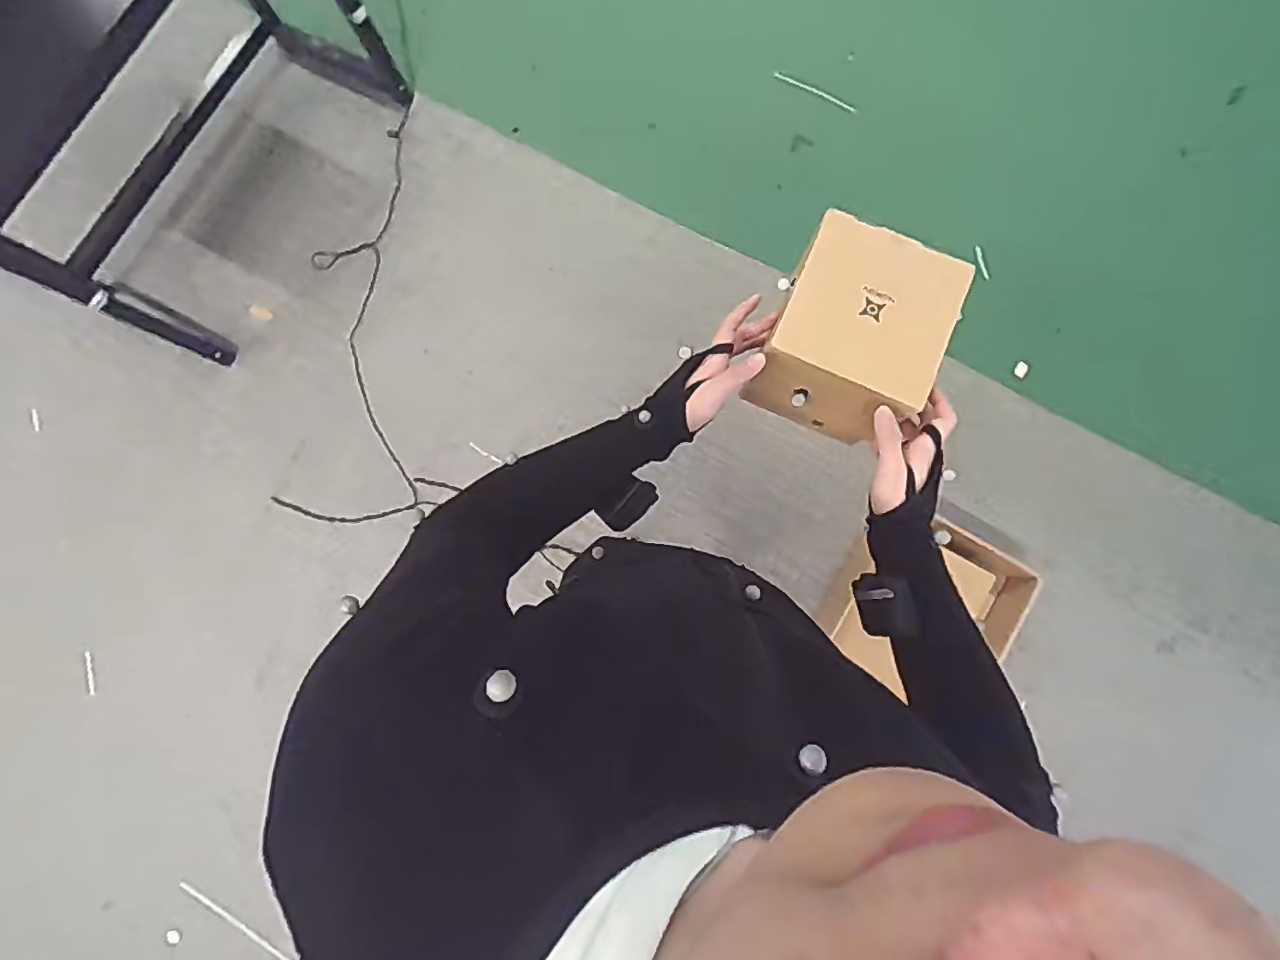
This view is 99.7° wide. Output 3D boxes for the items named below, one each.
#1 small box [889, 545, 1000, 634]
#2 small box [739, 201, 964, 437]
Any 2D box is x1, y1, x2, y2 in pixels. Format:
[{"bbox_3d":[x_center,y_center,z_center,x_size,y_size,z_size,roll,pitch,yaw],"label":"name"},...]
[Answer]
[{"bbox_3d":[0.807,0.291,1.456,0.179,0.176,0.168,31,86,7],"label":"small box"},{"bbox_3d":[0.225,-0.169,0.625,0.168,0.176,0.179,24,80,4],"label":"small box"}]
